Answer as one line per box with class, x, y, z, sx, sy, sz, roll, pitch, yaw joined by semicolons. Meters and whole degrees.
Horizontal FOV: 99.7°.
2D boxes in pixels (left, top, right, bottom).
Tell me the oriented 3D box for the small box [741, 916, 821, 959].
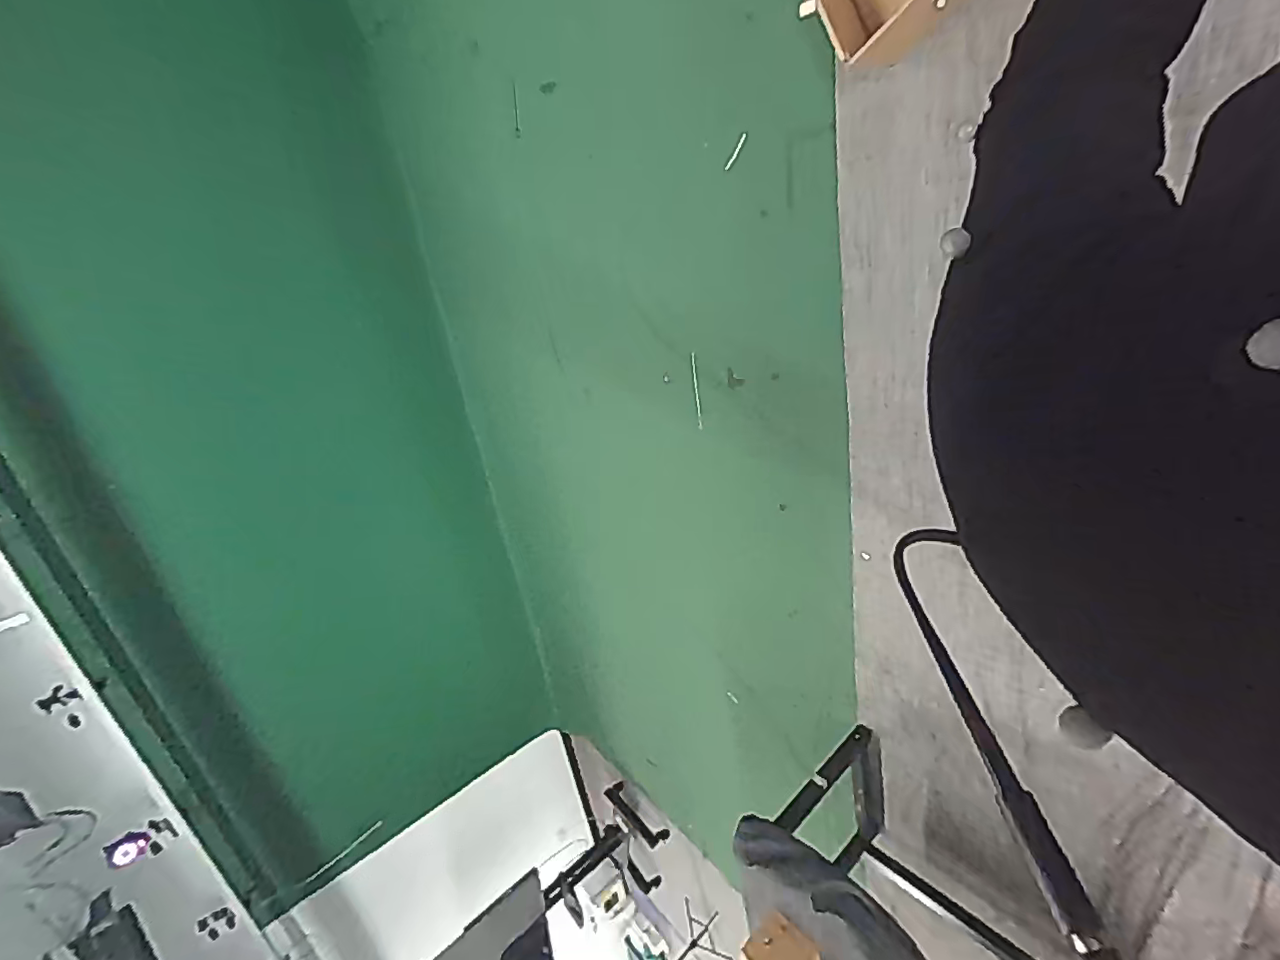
small box;0.422;1.439;1.574;0.168;0.176;0.179;12;121;52
